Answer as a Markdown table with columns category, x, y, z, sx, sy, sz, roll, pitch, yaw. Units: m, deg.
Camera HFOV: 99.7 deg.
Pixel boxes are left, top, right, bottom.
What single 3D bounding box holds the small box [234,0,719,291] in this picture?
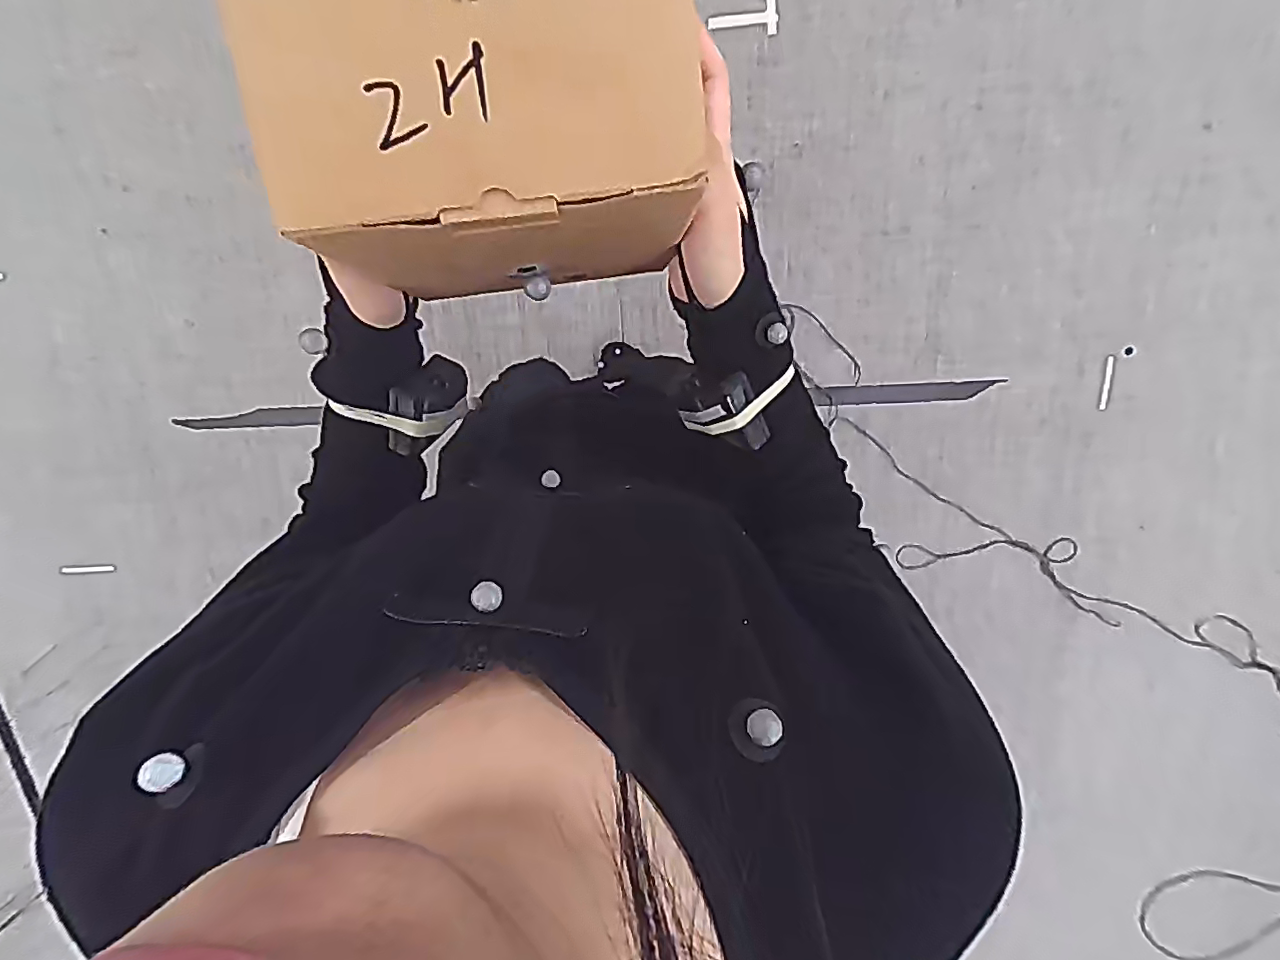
| category | x | y | z | sx | sy | sz | roll | pitch | yaw |
| --- | --- | --- | --- | --- | --- | --- | --- | --- | --- |
| small box | -0.066 | -0.204 | 0.266 | 0.168 | 0.176 | 0.179 | -8 | 101 | -2 |
